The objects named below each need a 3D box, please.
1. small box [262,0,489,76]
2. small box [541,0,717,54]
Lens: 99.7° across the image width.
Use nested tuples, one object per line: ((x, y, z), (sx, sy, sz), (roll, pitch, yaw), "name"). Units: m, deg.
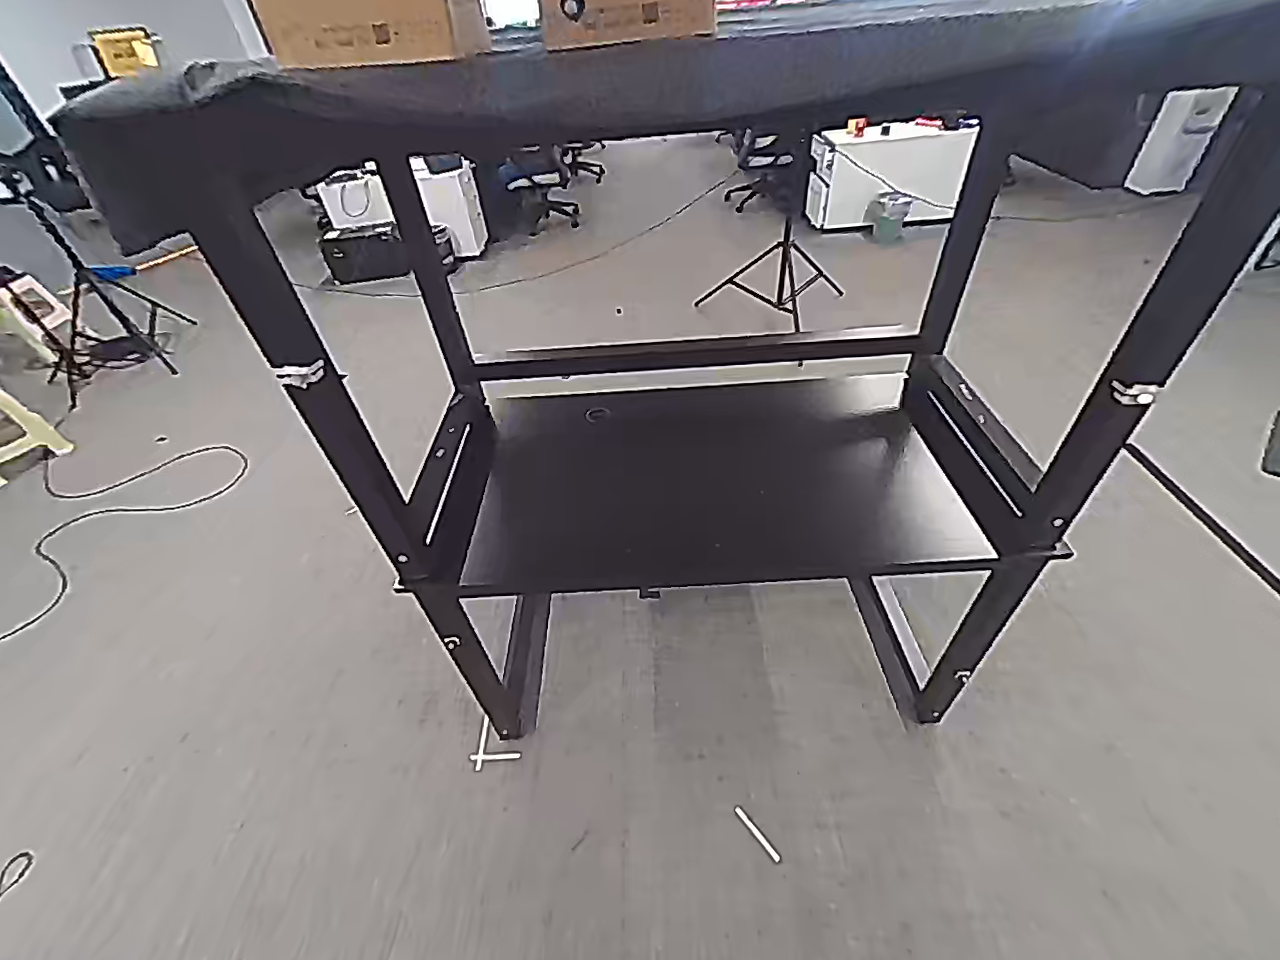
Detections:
((-0.254, -0.493, 0.511), (0.168, 0.176, 0.179), (-3, 40, 1), "small box")
((-0.013, -0.526, 0.522), (0.168, 0.176, 0.179), (-2, 40, 4), "small box")
